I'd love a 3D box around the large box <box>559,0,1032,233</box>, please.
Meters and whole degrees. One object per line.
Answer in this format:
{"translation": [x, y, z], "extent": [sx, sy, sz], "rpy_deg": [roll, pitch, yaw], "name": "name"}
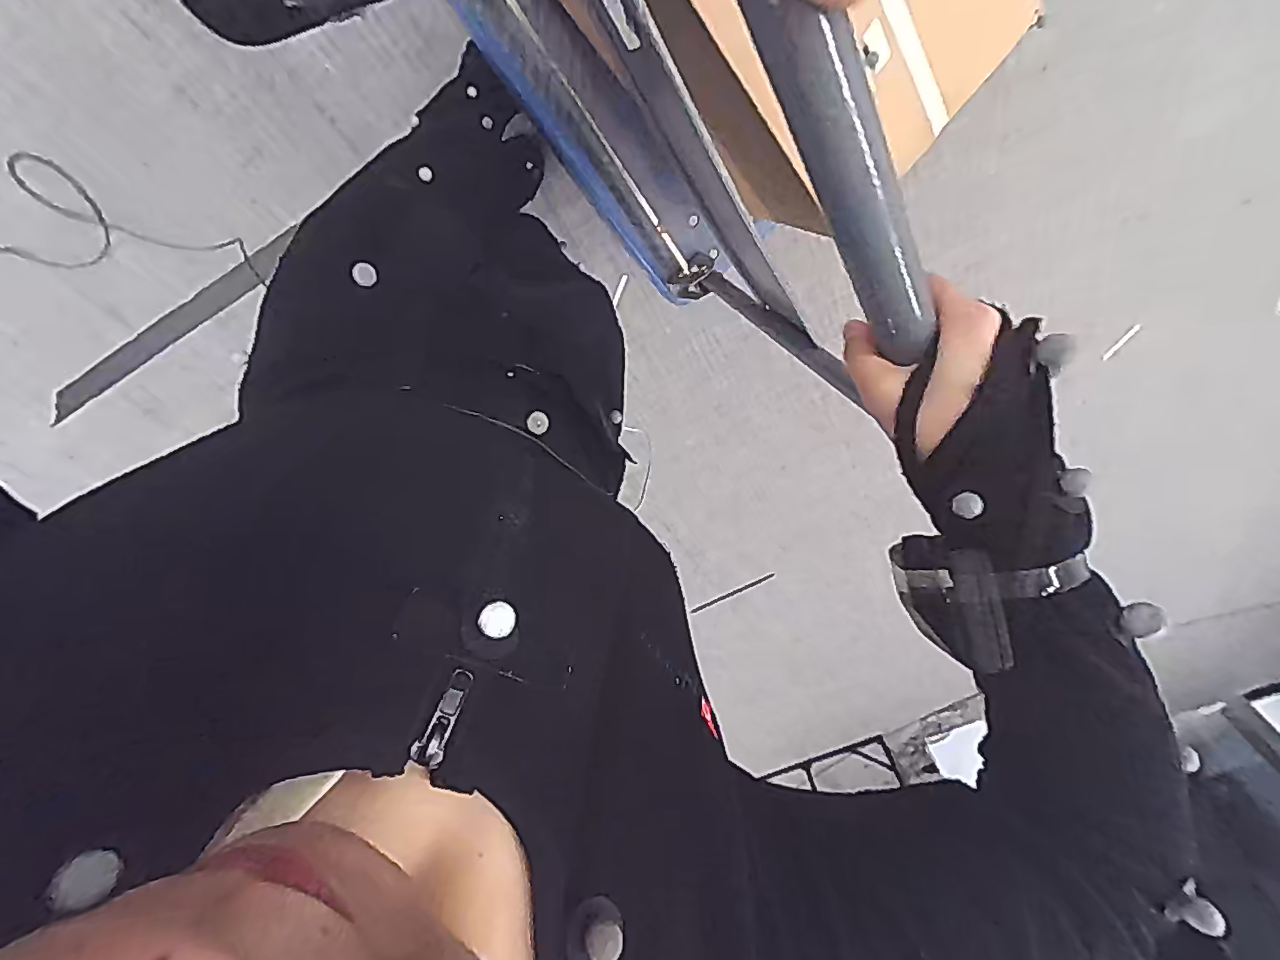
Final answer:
{"translation": [0.151, -0.568, 0.618], "extent": [0.408, 0.320, 0.320], "rpy_deg": [32, 104, -39], "name": "large box"}
